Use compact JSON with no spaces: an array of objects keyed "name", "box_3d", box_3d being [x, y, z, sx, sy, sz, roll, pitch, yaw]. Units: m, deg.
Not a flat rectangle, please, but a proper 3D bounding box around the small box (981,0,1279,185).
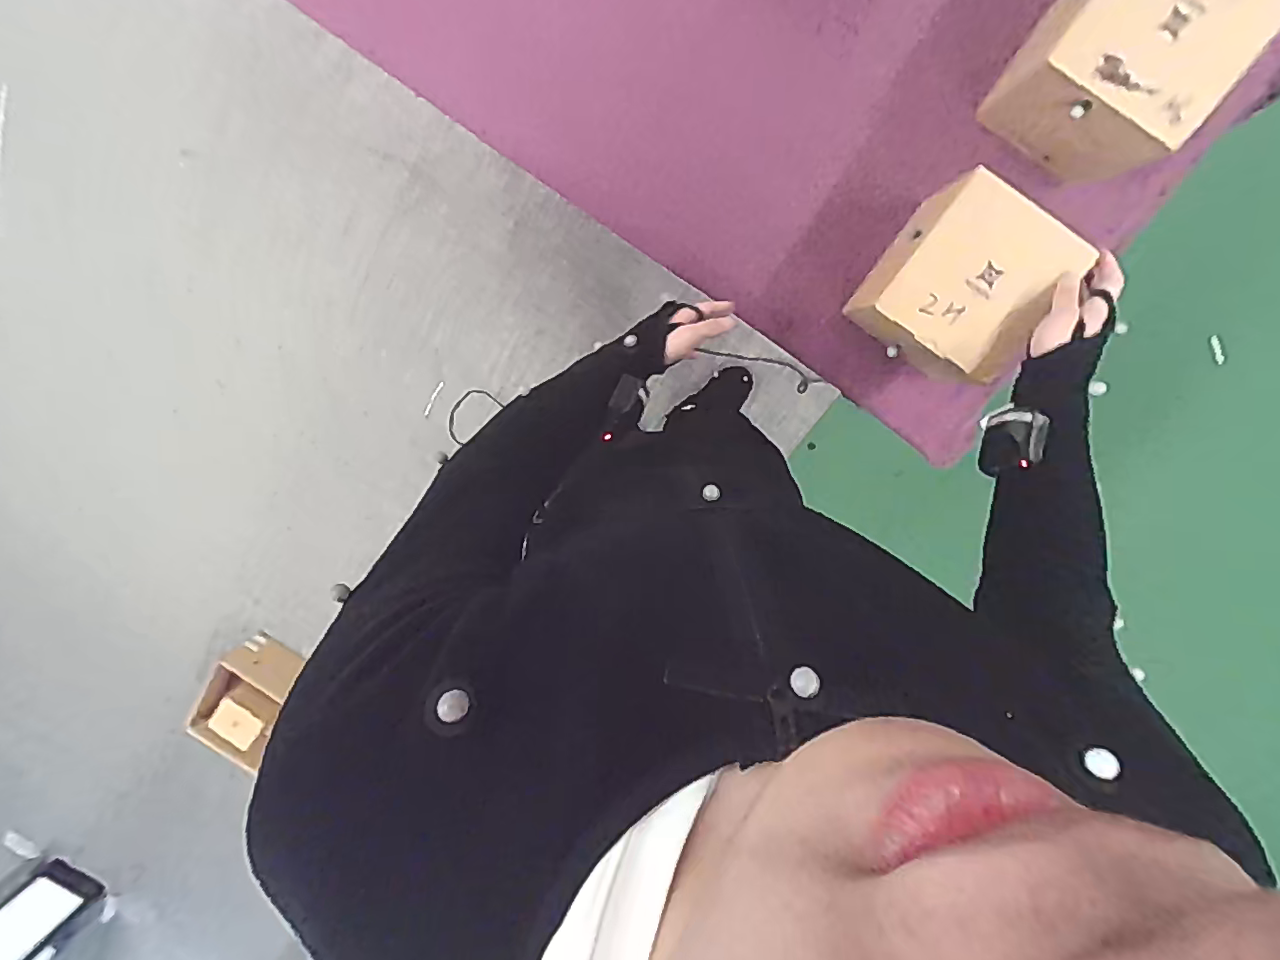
[{"name":"small box","box_3d":[0.530,-0.468,0.598,0.168,0.176,0.179,33,108,-2]}]
